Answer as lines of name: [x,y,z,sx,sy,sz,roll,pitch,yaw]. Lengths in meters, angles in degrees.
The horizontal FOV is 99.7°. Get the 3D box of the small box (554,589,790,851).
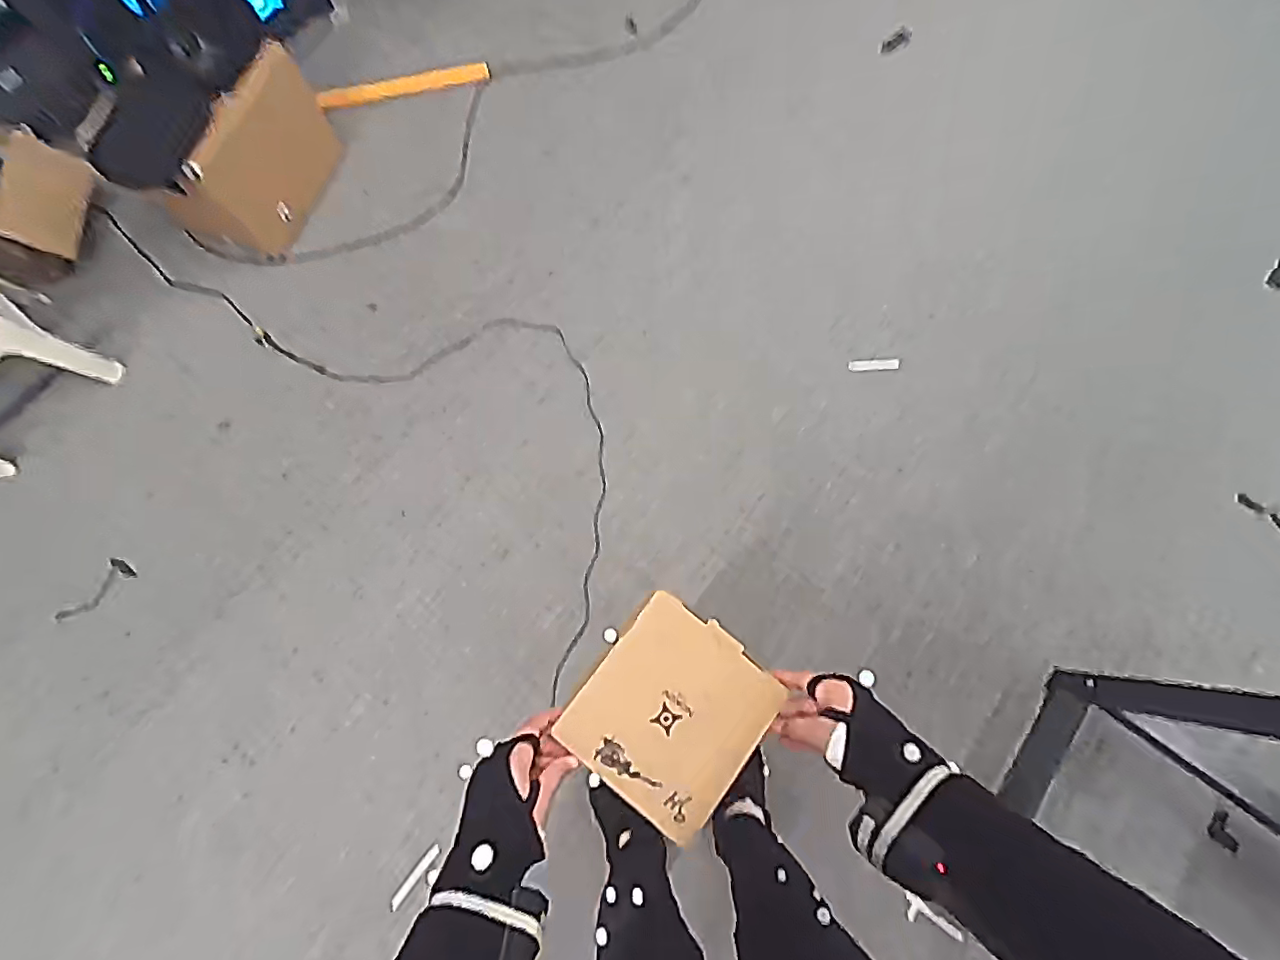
small box: [0.026,0.240,0.590,0.168,0.176,0.179,38,76,6]
